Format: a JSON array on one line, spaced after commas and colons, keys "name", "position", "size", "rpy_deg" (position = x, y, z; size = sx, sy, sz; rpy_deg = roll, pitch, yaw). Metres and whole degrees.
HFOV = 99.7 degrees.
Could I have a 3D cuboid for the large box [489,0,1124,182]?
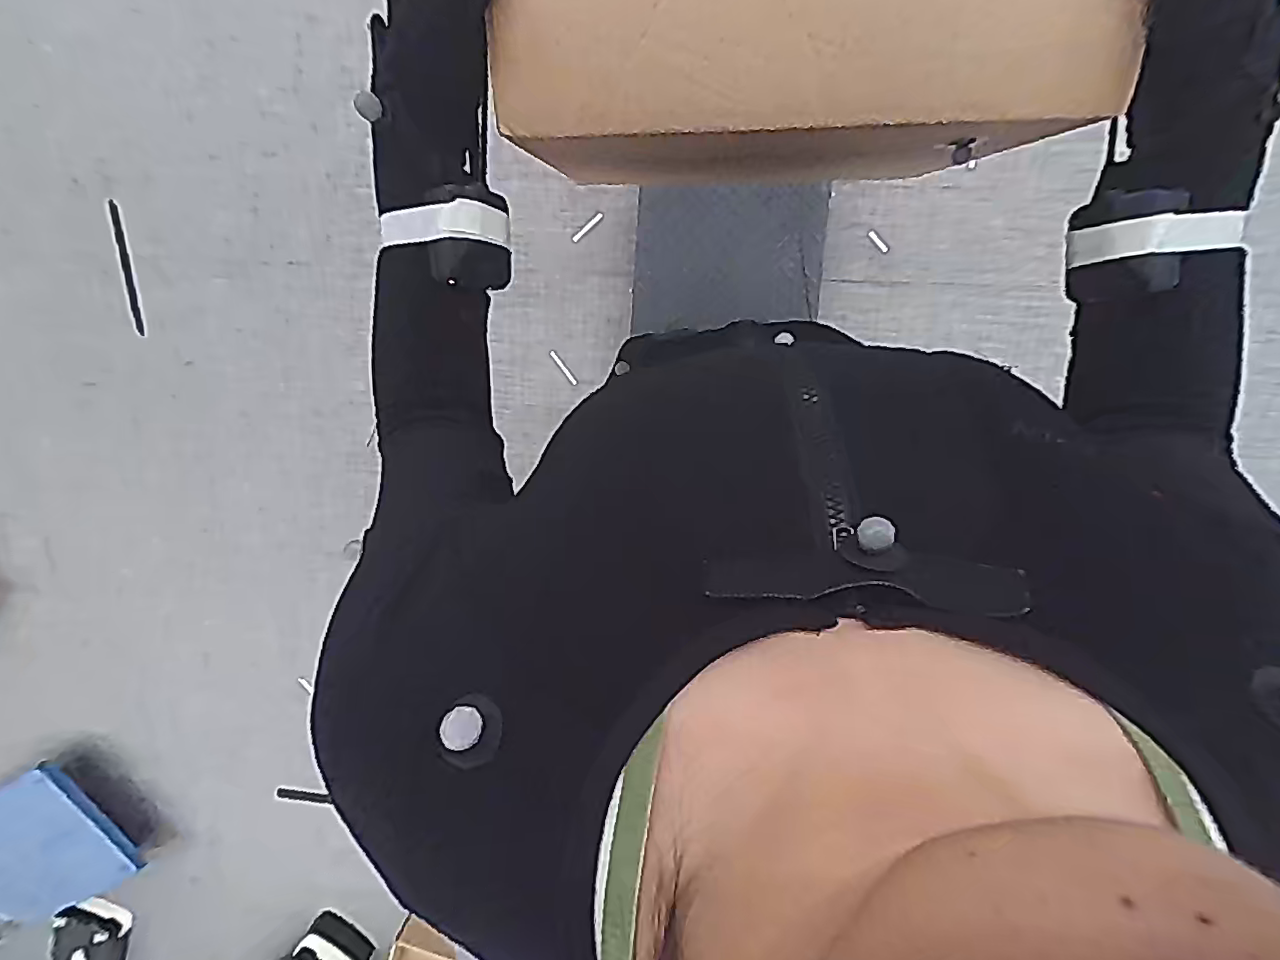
[{"name": "large box", "position": [0.108, -0.436, 0.442], "size": [0.408, 0.320, 0.320], "rpy_deg": [0, 113, 3]}]
